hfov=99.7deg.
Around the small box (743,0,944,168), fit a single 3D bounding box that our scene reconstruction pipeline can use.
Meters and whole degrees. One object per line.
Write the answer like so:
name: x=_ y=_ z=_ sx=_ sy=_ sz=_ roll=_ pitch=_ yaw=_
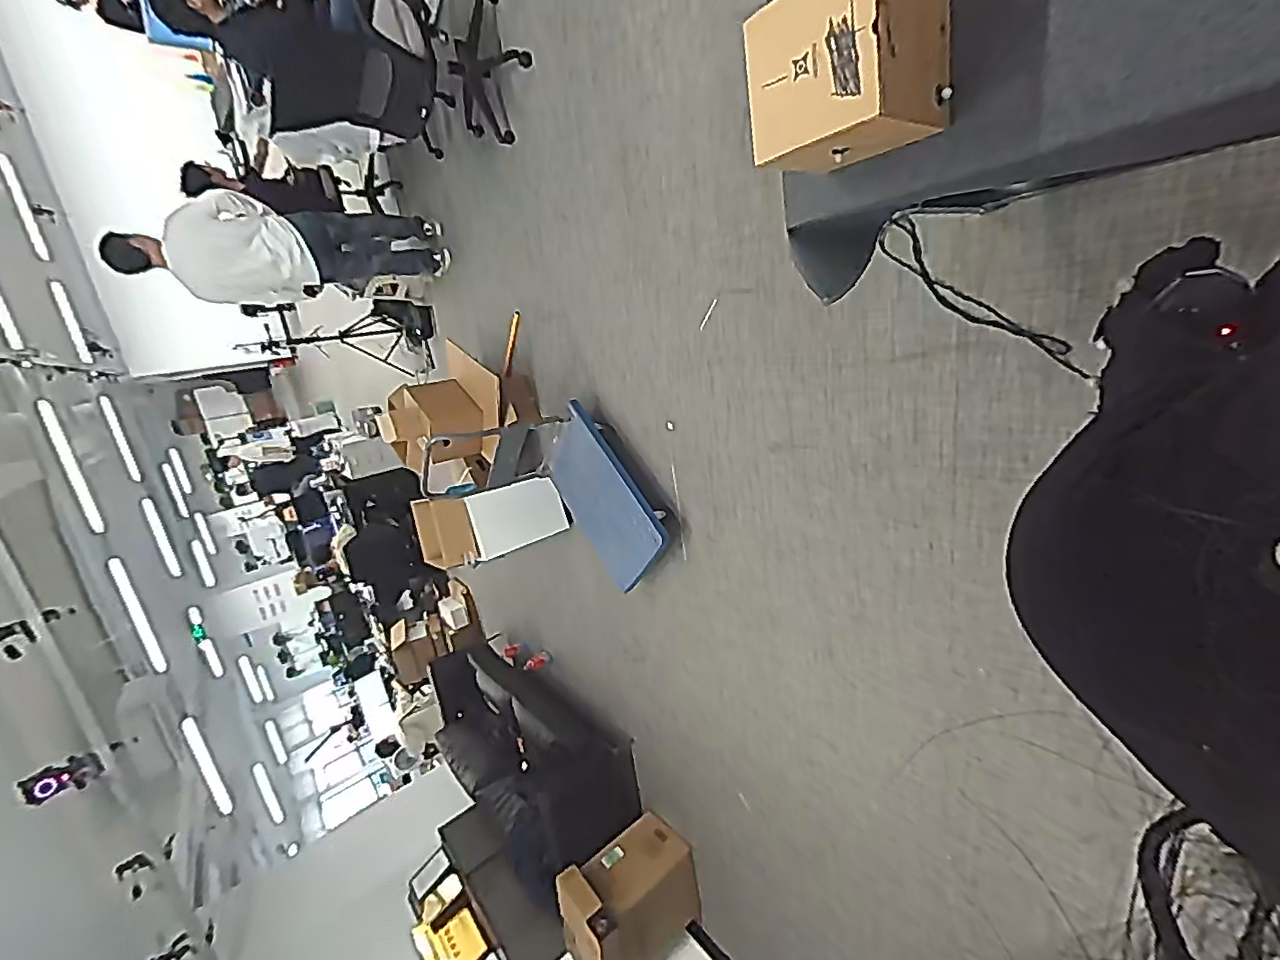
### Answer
small box: x=0.256 y=-0.505 z=0.672 sx=0.179 sy=0.176 sz=0.168 roll=11 pitch=115 yaw=51
